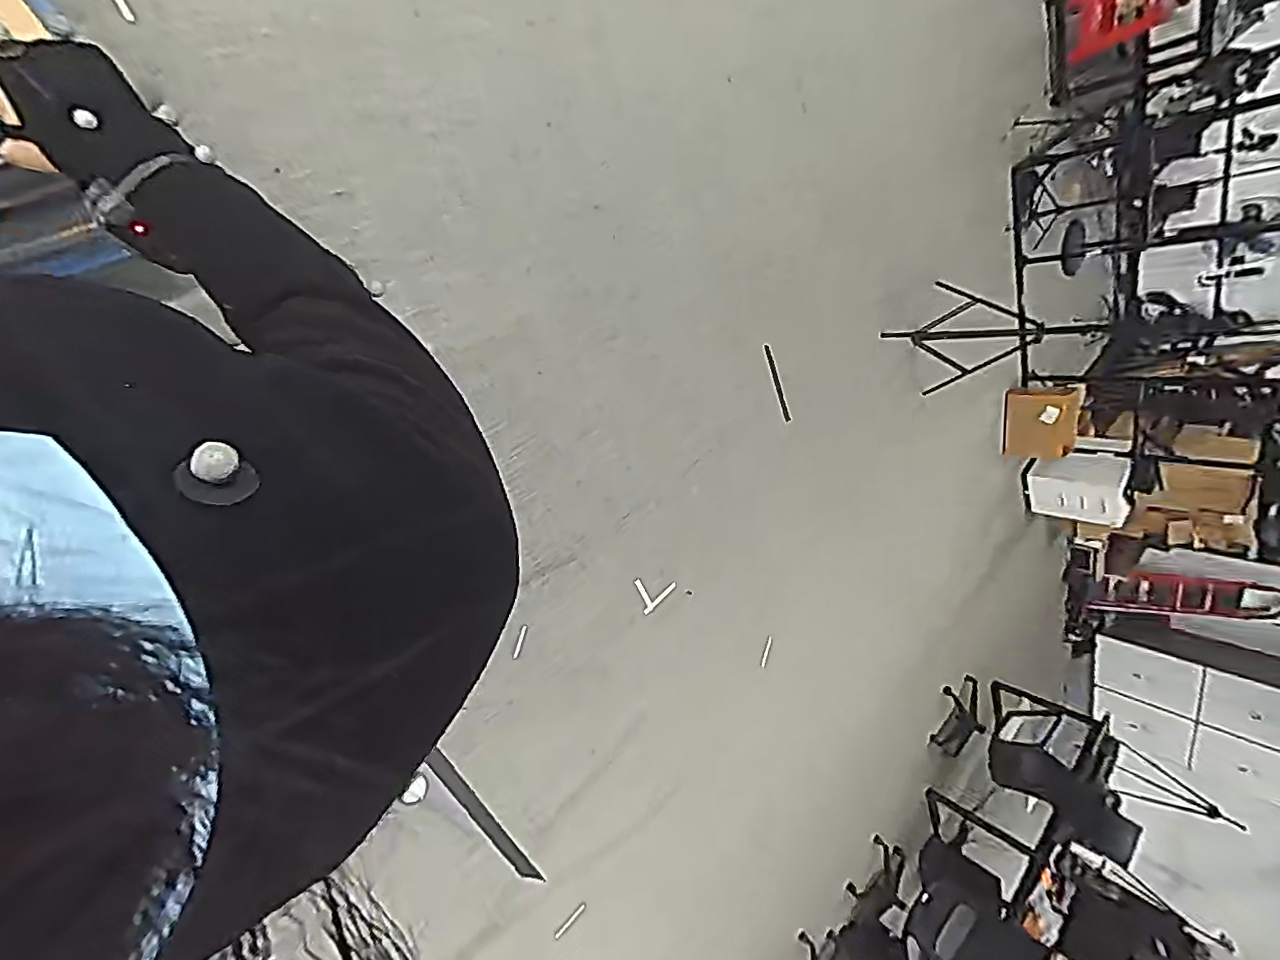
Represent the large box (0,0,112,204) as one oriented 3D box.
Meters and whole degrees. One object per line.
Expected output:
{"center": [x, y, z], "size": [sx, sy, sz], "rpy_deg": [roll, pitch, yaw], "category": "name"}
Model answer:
{"center": [-0.993, -0.512, 0.651], "size": [0.408, 0.320, 0.320], "rpy_deg": [-43, 122, -26], "category": "large box"}
